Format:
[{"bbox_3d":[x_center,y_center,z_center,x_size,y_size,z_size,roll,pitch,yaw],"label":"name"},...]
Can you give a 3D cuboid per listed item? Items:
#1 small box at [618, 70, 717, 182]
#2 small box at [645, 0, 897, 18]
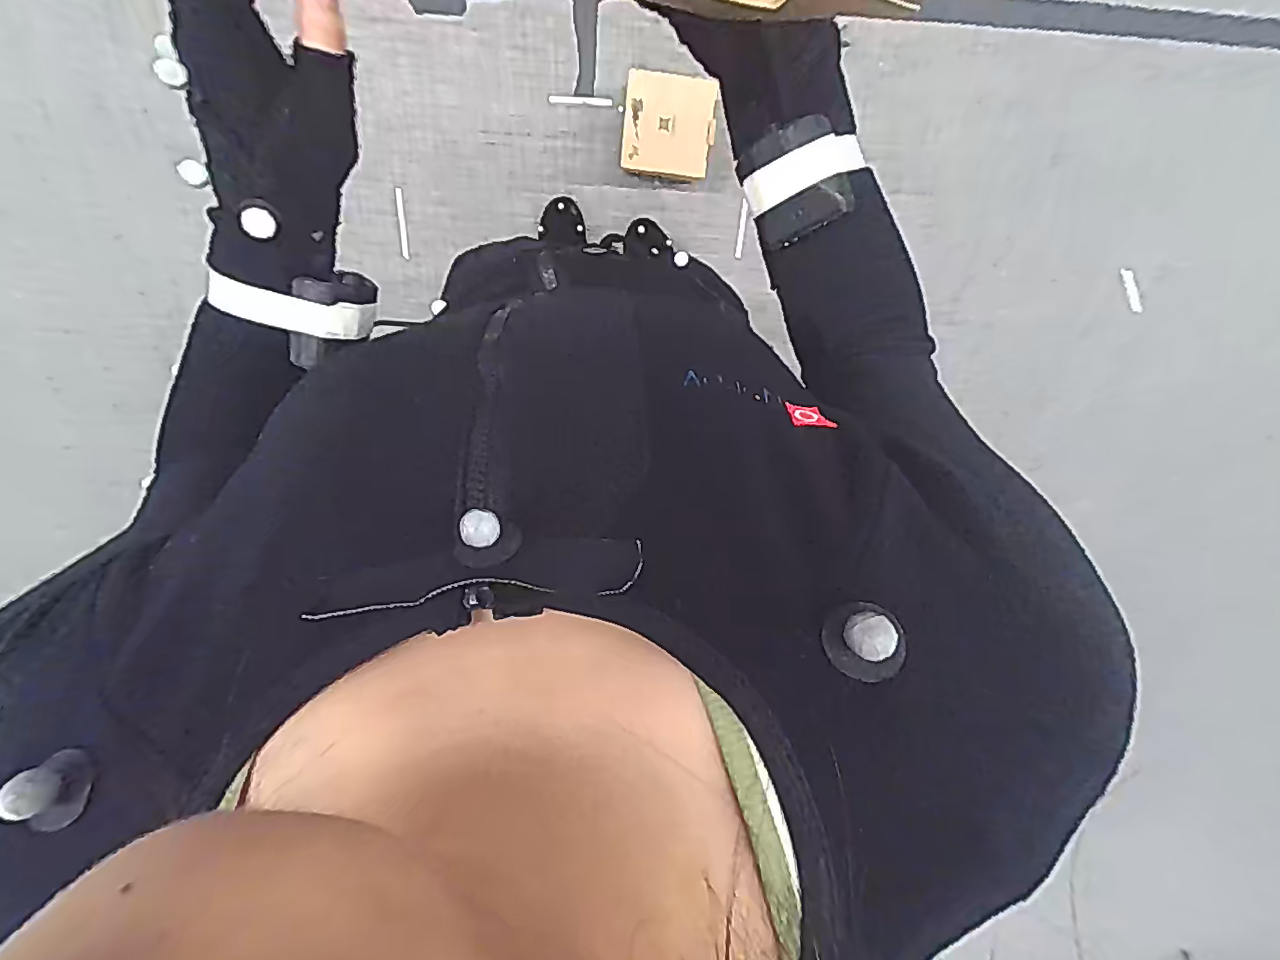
[{"bbox_3d":[0.049,-0.732,1.137,0.179,0.176,0.168,6,116,-6],"label":"small box"},{"bbox_3d":[0.014,-0.290,0.189,0.168,0.179,0.176,-6,129,-22],"label":"small box"}]
